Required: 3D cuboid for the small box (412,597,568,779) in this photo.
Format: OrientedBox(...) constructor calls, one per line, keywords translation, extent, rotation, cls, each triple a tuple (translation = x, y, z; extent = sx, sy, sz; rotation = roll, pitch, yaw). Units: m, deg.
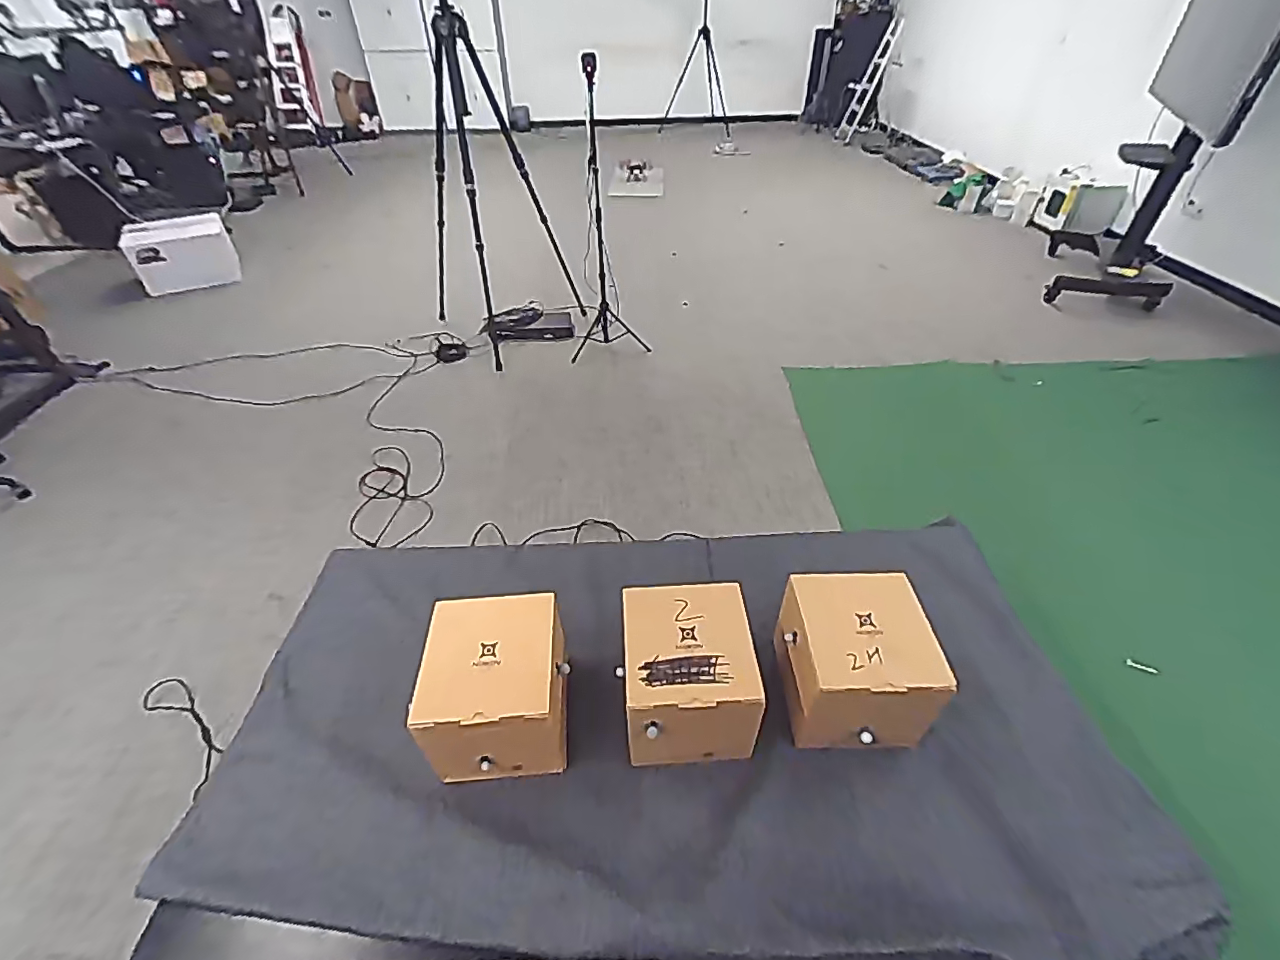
OrientedBox(translation=(-0.192, 0.286, 0.749), extent=(0.168, 0.176, 0.179), rotation=(-3, 42, -3), cls="small box")
